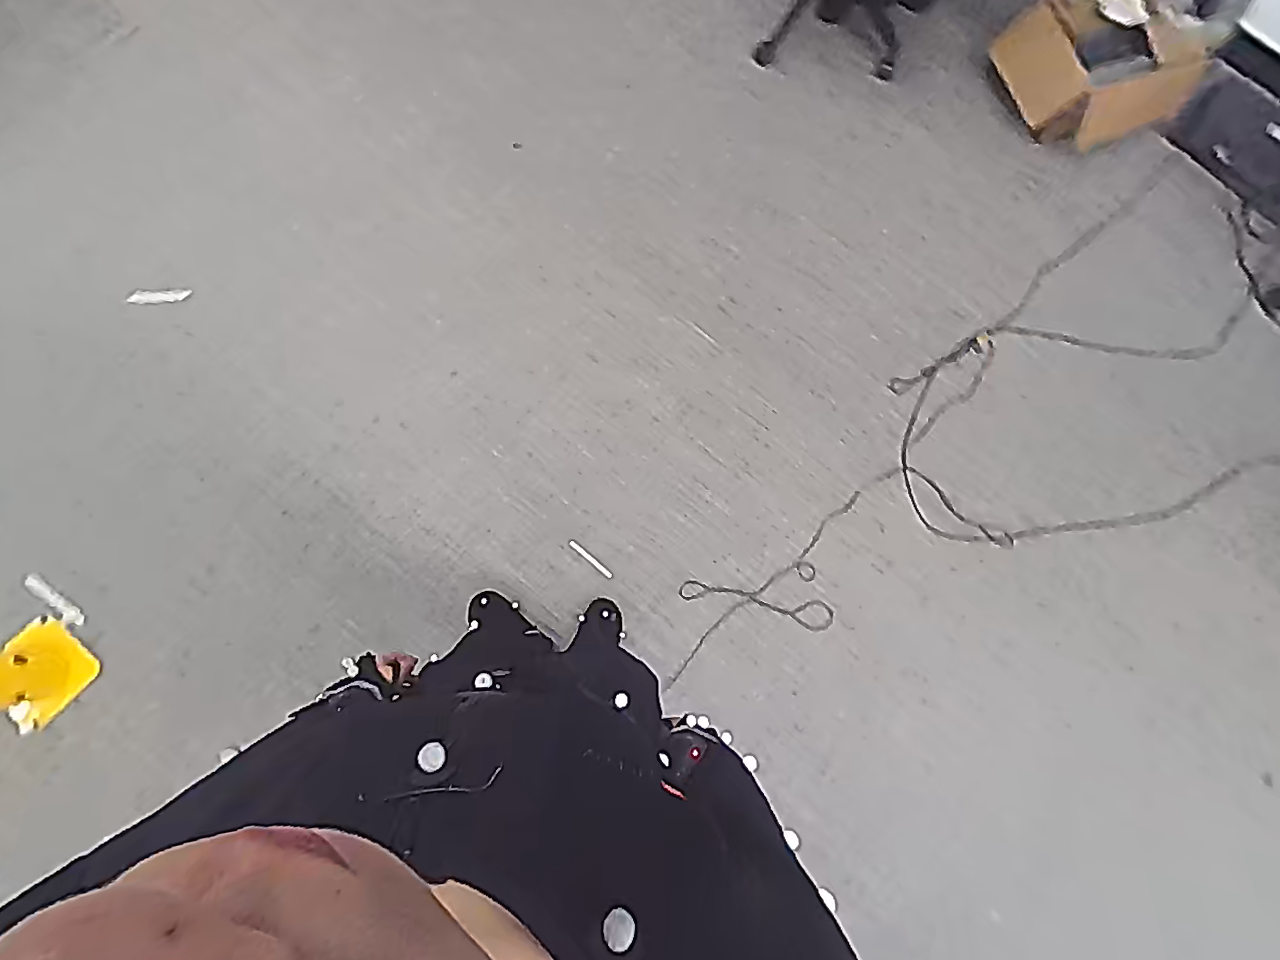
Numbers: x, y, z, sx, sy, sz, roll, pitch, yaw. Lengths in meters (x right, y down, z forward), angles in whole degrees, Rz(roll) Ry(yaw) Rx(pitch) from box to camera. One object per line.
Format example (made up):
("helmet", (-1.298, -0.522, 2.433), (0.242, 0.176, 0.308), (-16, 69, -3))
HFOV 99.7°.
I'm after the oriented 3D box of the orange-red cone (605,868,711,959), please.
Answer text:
("orange-red cone", (0.053, 1.012, 1.088), (0.199, 0.360, 0.198), (35, 80, 3))
